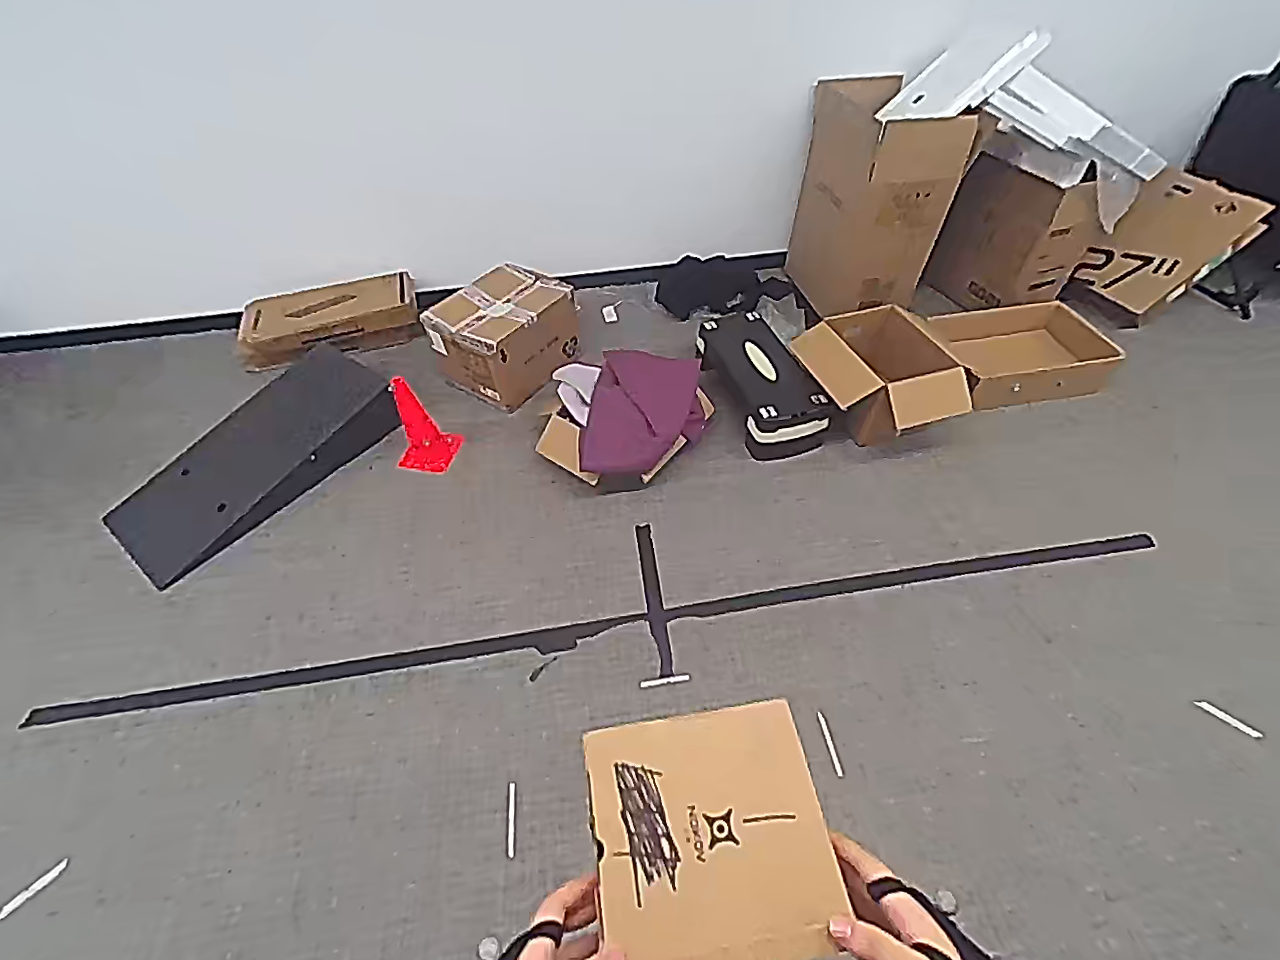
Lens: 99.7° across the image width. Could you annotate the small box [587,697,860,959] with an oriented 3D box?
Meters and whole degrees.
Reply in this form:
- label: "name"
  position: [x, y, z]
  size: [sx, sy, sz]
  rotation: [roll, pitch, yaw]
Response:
- label: "small box"
  position: [0.055, 0.307, 0.468]
  size: [0.179, 0.176, 0.168]
  rotation: [-7, 53, -5]
